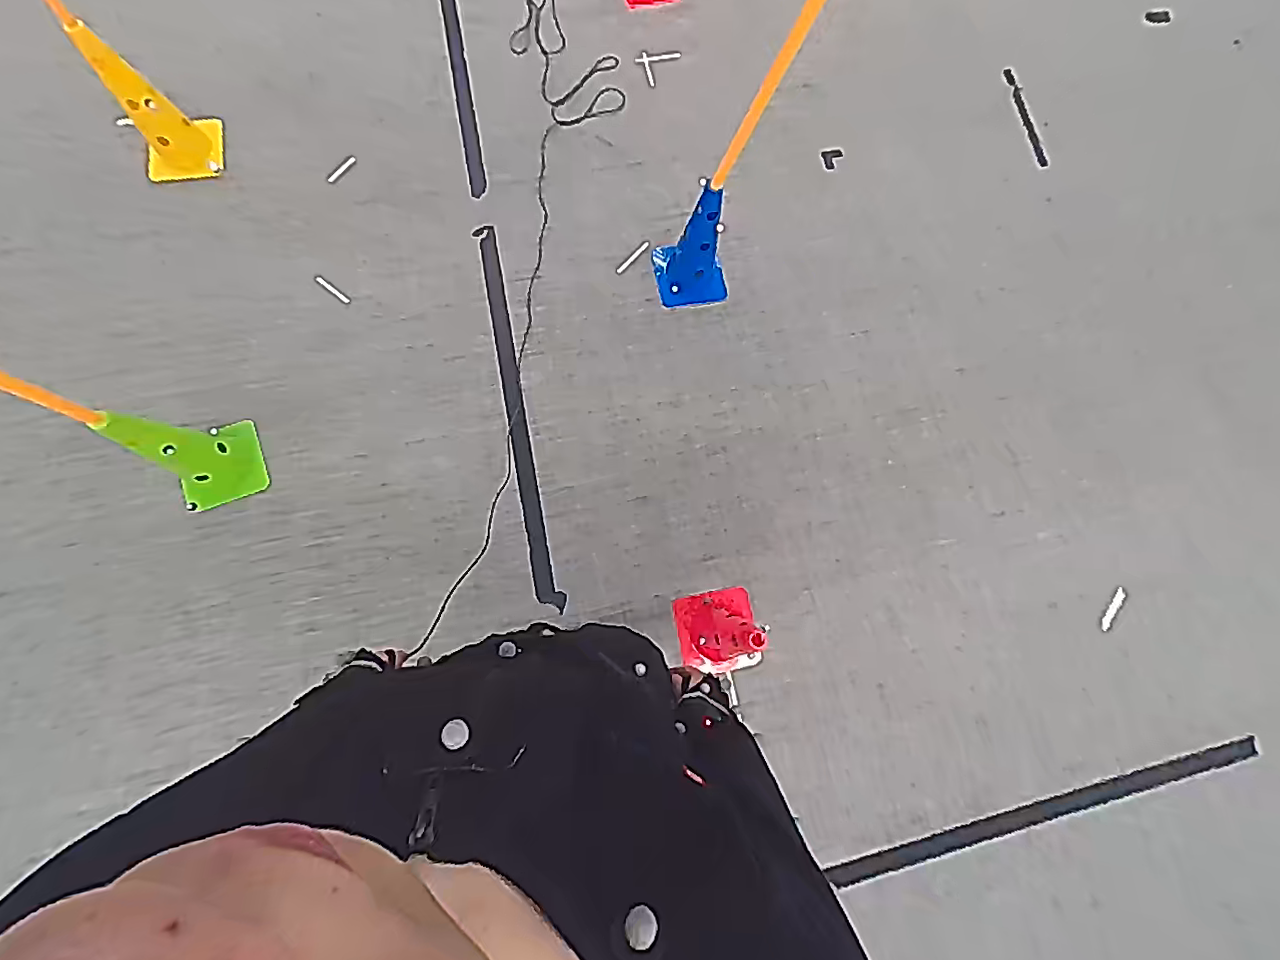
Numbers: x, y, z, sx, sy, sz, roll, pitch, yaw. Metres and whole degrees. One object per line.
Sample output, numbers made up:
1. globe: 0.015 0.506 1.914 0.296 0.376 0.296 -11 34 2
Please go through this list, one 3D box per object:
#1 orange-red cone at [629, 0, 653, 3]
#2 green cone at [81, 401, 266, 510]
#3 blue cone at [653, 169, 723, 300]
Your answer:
1. orange-red cone: 0.038 -1.744 1.671 0.199 0.360 0.198 -16 78 -6
2. green cone: -1.059 -0.085 1.210 0.200 0.368 0.202 -21 78 -9
3. blue cone: 0.156 -0.662 1.446 0.193 0.380 0.192 -8 77 -6
